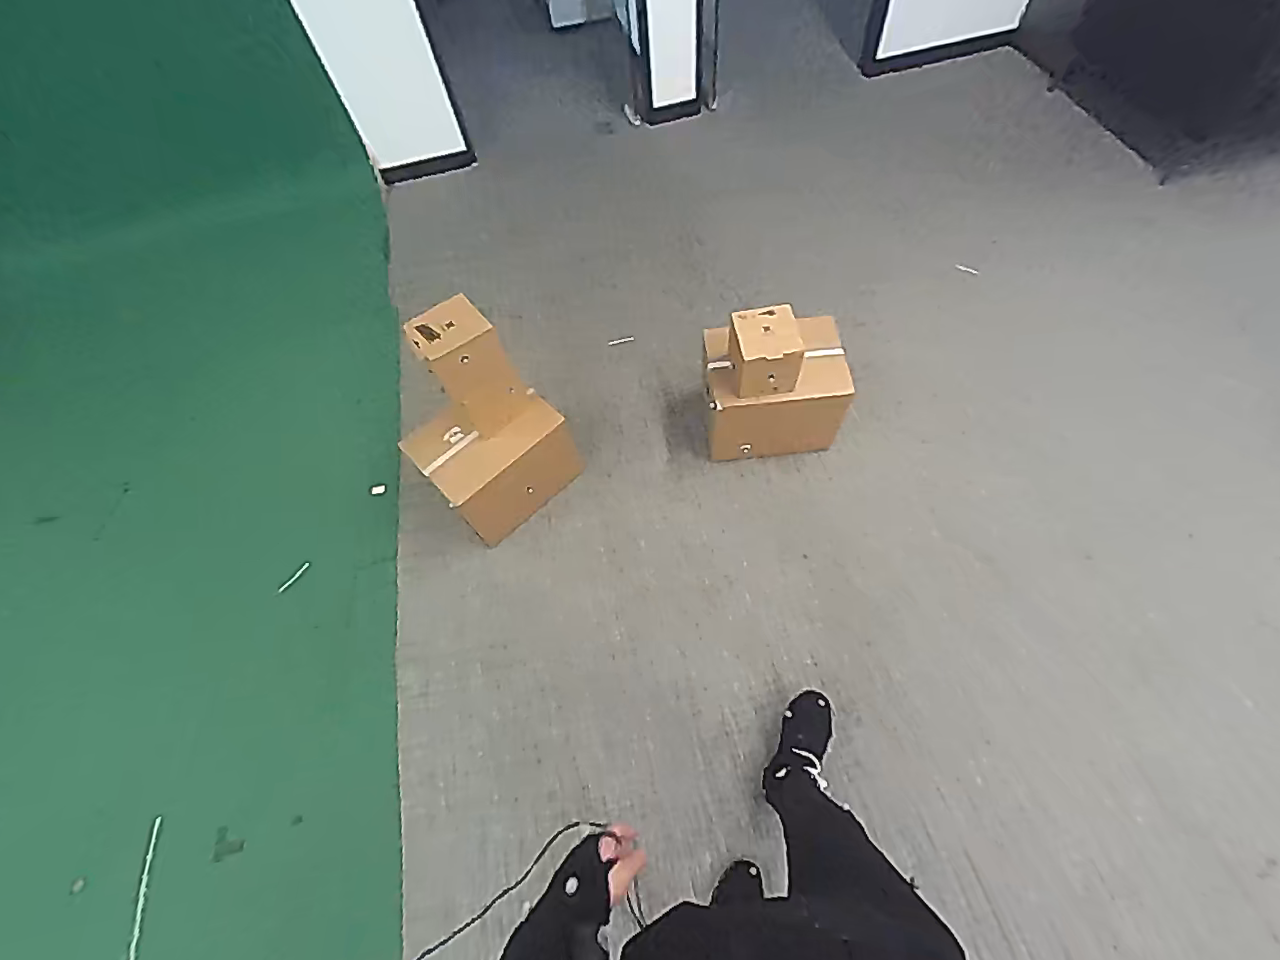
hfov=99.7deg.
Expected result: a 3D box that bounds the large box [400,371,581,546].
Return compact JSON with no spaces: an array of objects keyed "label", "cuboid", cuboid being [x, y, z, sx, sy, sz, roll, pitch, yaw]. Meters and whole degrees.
[{"label":"large box","cuboid":[-0.453,-0.069,1.717,0.408,0.320,0.320,-43,65,-16]}]

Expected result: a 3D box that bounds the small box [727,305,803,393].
[{"label":"small box","cuboid":[0.345,-0.359,1.524,0.168,0.176,0.179,-8,62,1]}]

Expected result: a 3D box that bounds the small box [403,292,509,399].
[{"label":"small box","cuboid":[-0.468,-0.342,1.399,0.179,0.176,0.168,-36,64,-14]}]
